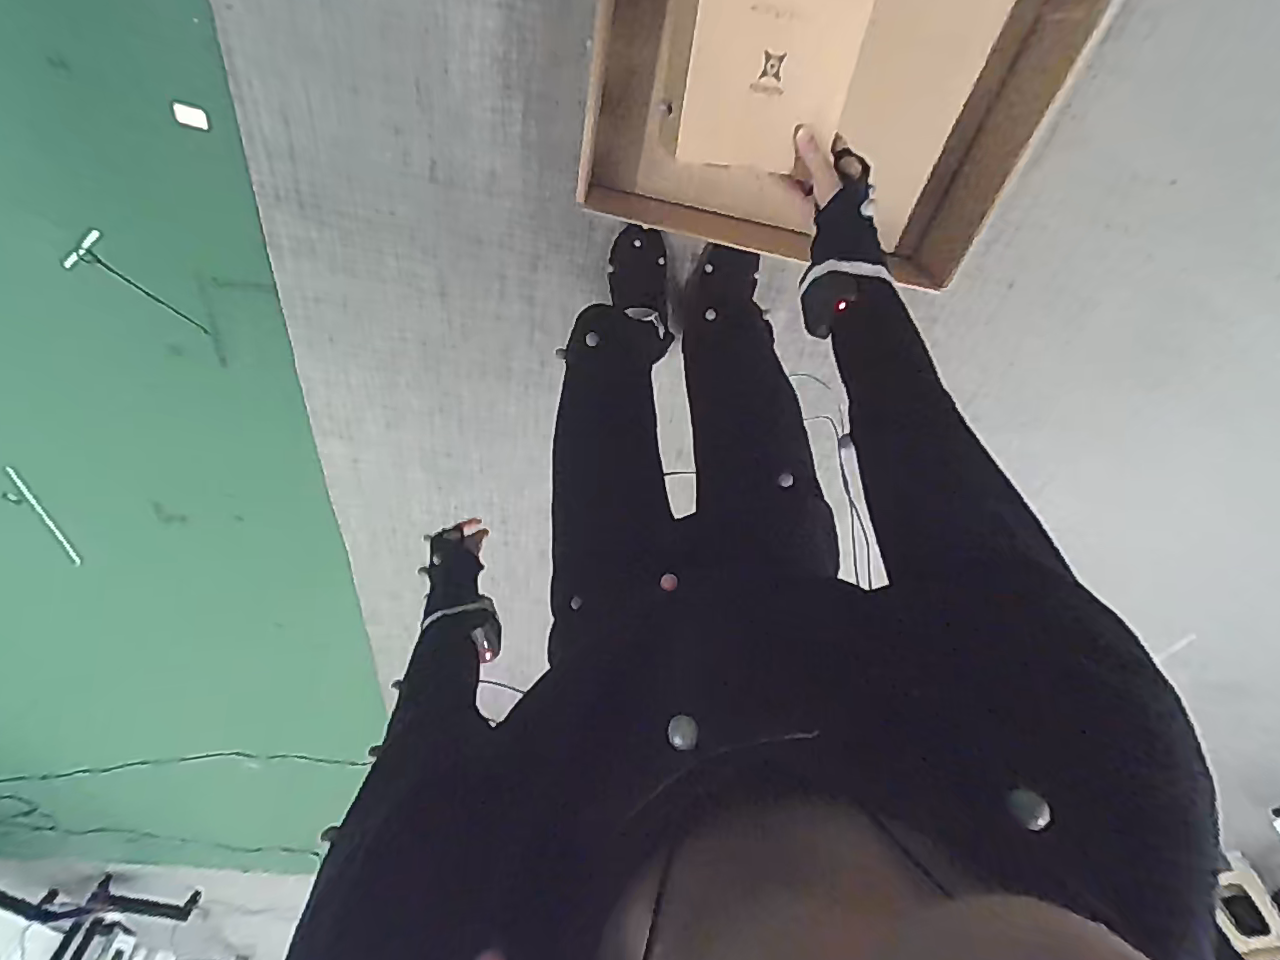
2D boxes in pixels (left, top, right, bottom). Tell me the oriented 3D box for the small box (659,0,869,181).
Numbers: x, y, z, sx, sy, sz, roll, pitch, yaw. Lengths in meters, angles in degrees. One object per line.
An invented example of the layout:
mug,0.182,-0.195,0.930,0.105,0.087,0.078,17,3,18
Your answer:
small box,0.117,-0.446,0.588,0.168,0.176,0.179,4,125,-8
